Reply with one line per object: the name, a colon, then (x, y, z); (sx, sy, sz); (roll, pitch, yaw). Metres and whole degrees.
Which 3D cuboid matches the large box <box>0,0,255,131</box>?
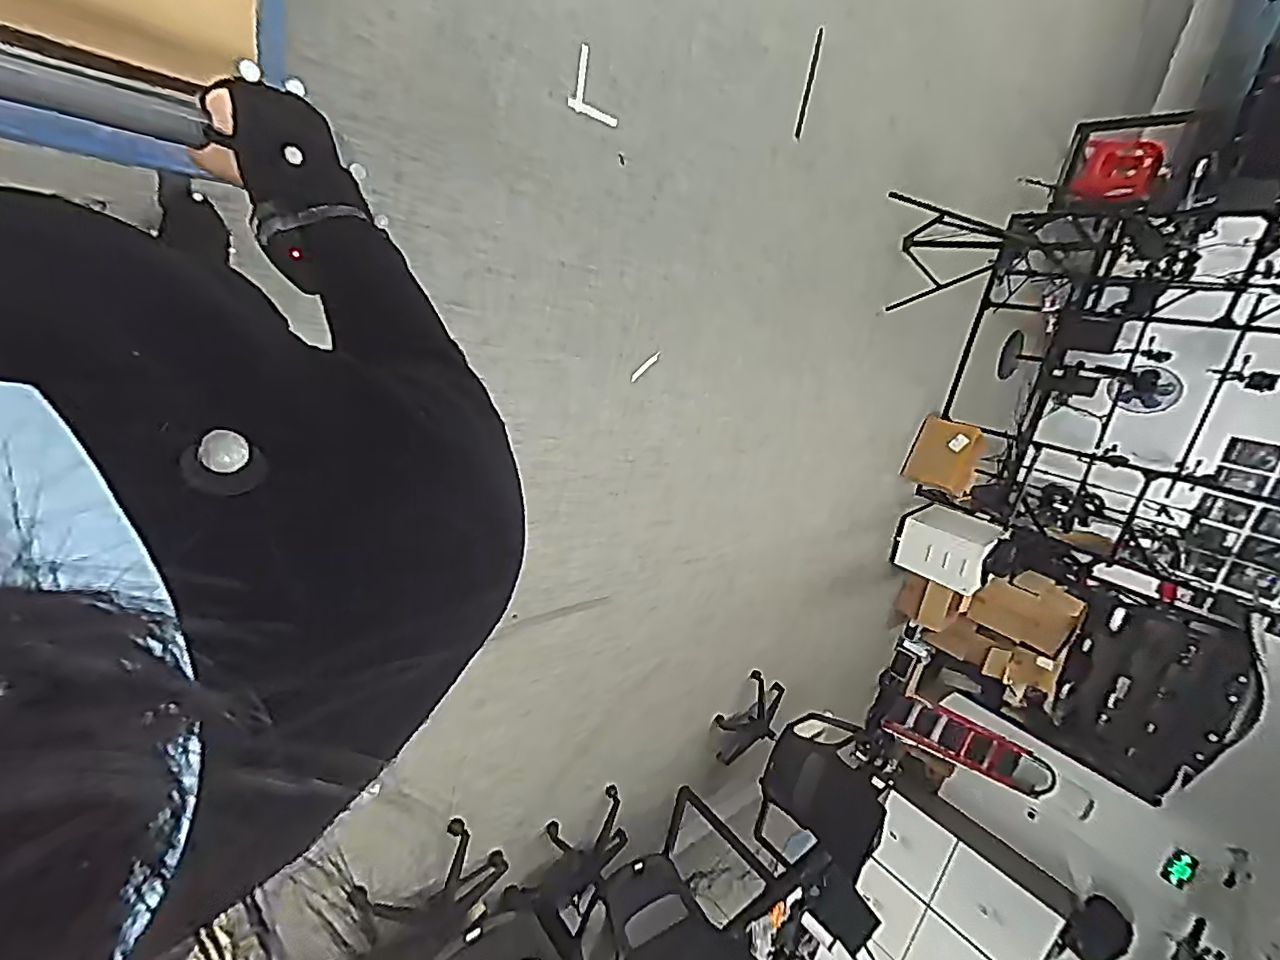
large box: (-0.754, -0.683, 0.668); (0.408, 0.320, 0.320); (-7, 114, -42)
